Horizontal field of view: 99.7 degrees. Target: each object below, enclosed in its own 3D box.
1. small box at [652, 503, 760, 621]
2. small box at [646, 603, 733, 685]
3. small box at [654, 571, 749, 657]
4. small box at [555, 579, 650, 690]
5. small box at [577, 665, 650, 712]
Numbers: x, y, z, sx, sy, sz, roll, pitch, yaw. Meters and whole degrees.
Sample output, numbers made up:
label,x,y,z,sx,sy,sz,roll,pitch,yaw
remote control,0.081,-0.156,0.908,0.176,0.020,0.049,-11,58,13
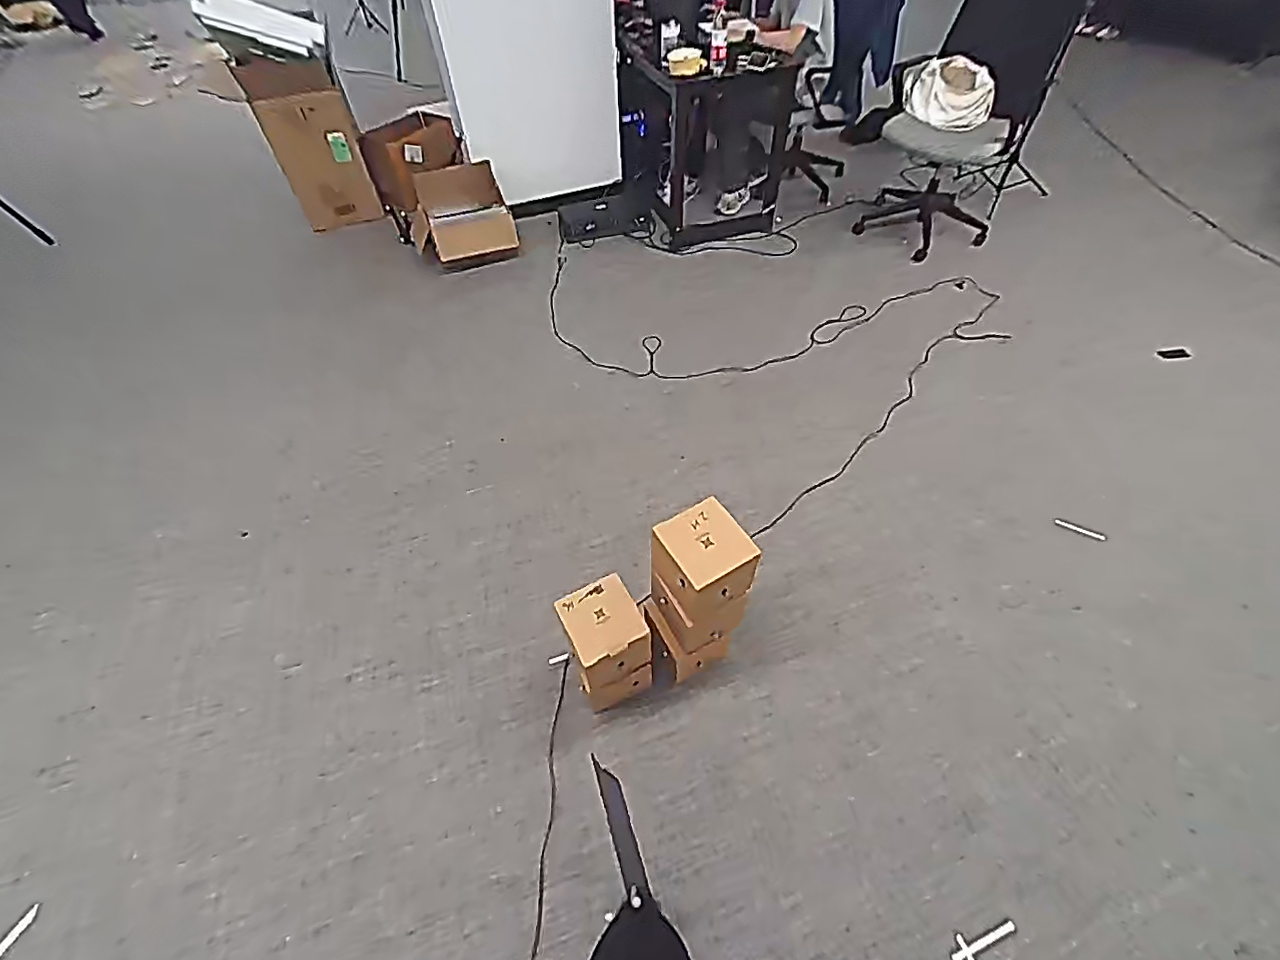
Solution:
label,x,y,z,sx,sy,sz,roll,pitch,yaw
small box,0.141,0.190,1.201,0.168,0.176,0.179,-26,55,-18
small box,0.125,0.413,1.444,0.168,0.176,0.179,-24,55,-16
small box,0.142,0.299,1.325,0.168,0.176,0.179,-24,56,-15
small box,-0.084,0.373,1.276,0.168,0.176,0.179,-23,55,-16
small box,-0.078,0.479,1.402,0.168,0.176,0.179,-20,53,-14
